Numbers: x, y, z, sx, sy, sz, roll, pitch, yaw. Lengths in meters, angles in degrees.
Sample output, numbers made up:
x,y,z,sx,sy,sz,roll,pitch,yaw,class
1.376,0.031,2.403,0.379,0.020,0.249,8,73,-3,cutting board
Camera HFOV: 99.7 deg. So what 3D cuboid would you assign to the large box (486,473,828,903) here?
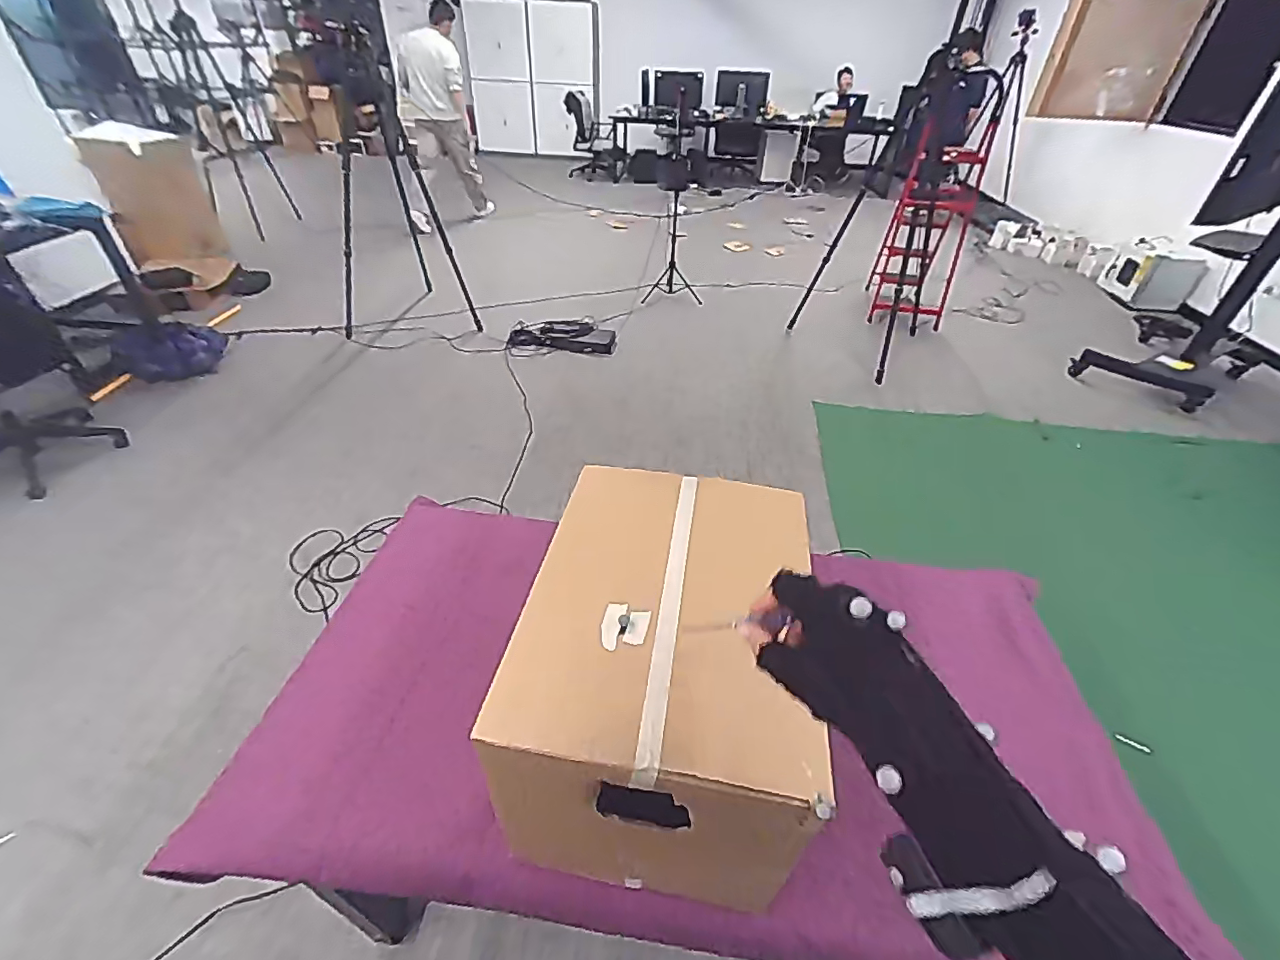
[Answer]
x,y,z,sx,sy,sz,roll,pitch,yaw,class
0.032,0.248,0.715,0.320,0.320,0.408,8,40,6,large box
